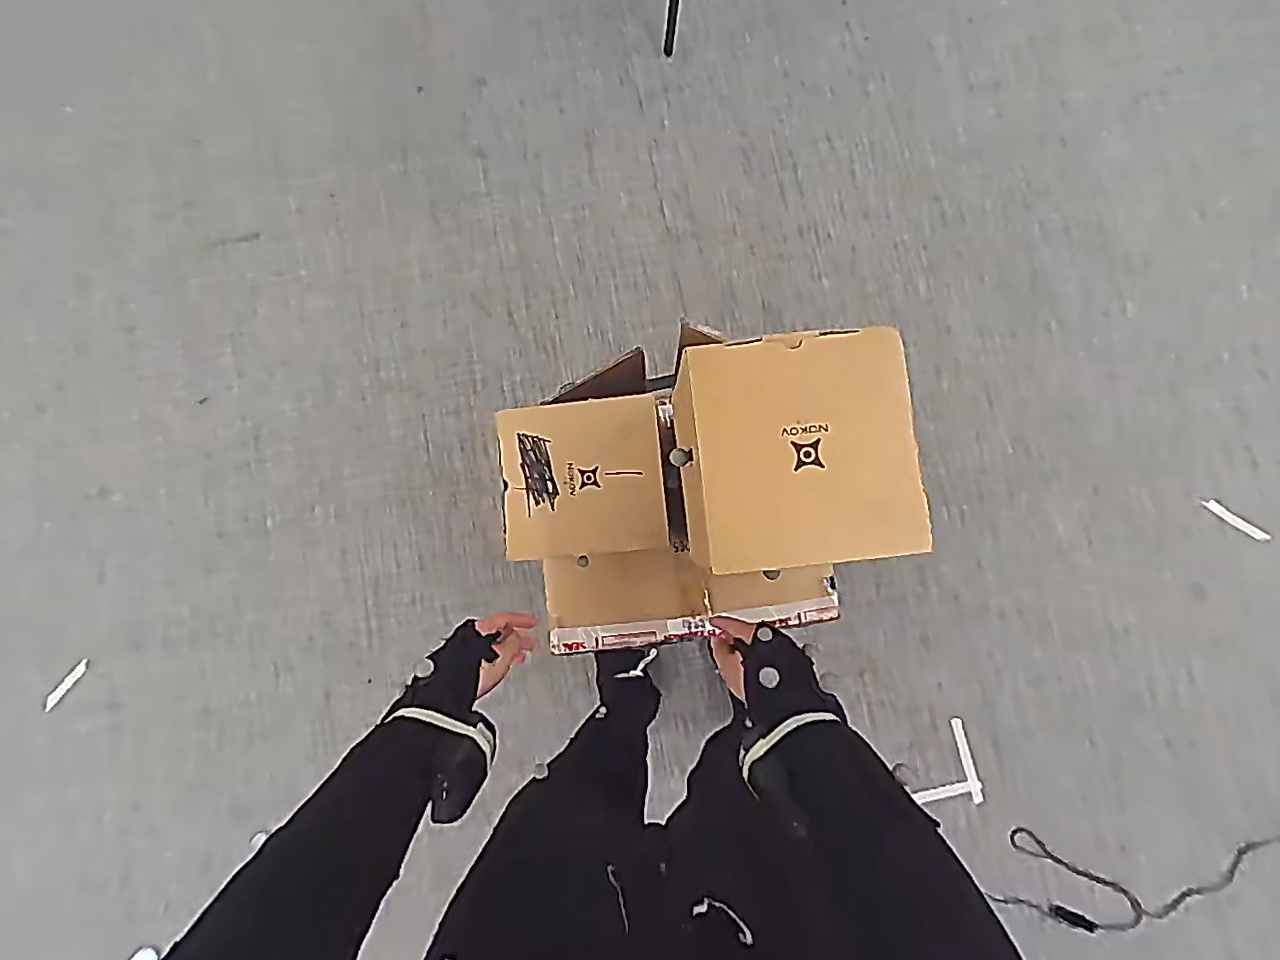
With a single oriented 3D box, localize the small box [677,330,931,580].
[{"bbox_3d":[0.127,-0.013,0.485,0.168,0.176,0.179,-7,84,0],"label":"small box"}]
